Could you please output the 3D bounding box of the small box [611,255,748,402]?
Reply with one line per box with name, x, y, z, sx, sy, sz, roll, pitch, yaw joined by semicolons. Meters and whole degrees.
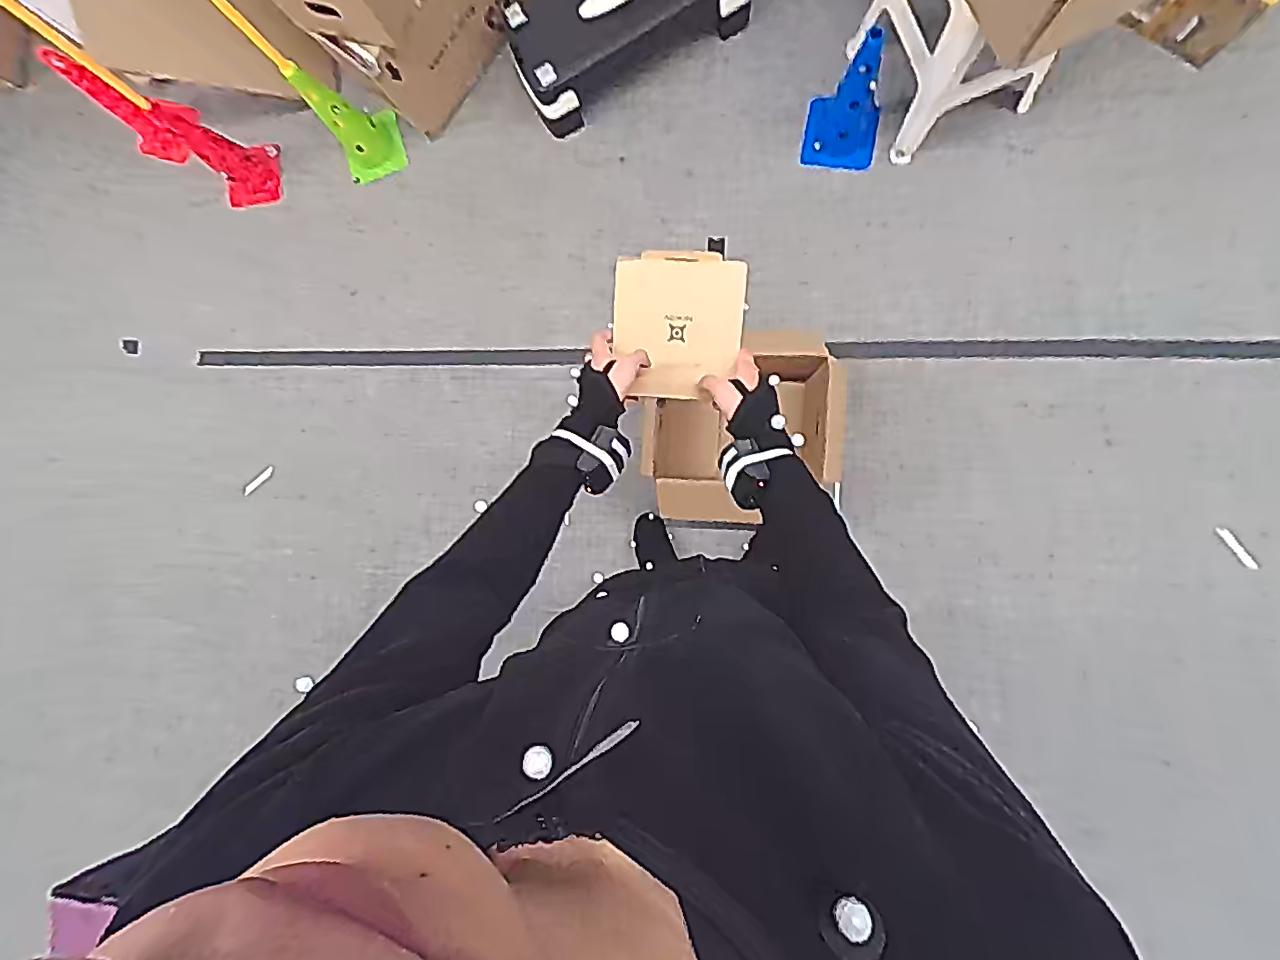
small box;0.053;-0.204;0.766;0.168;0.176;0.179;4;100;3
